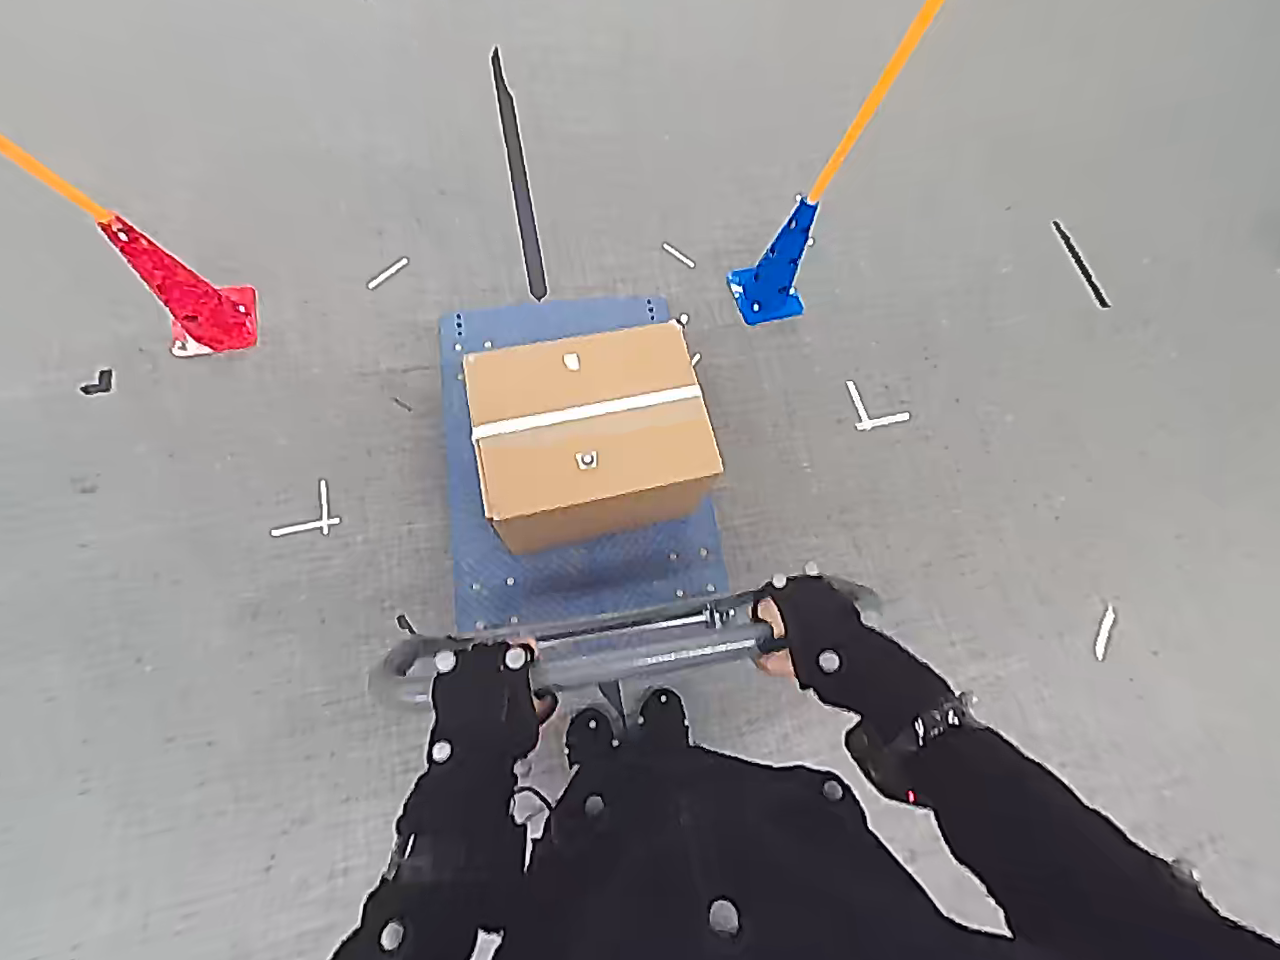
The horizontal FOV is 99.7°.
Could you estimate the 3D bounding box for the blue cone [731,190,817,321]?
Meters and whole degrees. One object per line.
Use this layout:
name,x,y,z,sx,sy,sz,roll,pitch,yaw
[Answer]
blue cone,0.409,-0.633,1.511,0.193,0.380,0.192,-13,72,-11
